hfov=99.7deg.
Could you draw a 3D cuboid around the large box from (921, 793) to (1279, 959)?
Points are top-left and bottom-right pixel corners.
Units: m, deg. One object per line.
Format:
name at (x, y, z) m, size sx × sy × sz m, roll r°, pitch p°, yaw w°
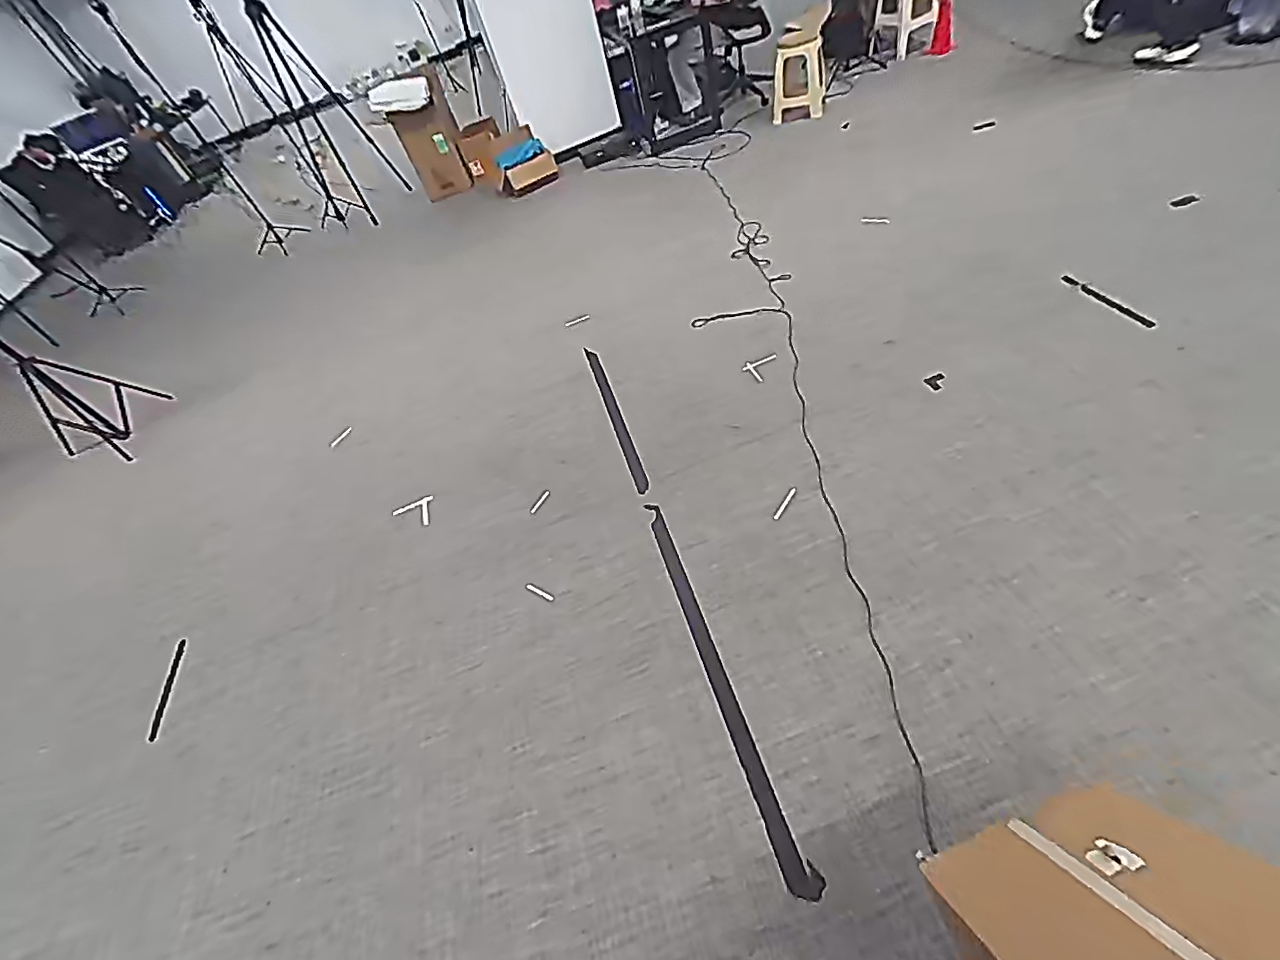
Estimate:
large box at (0.615, 0.637, 0.597) m, size 0.320 × 0.408 × 0.320 m, roll -20°, pitch 82°, yaw -3°
